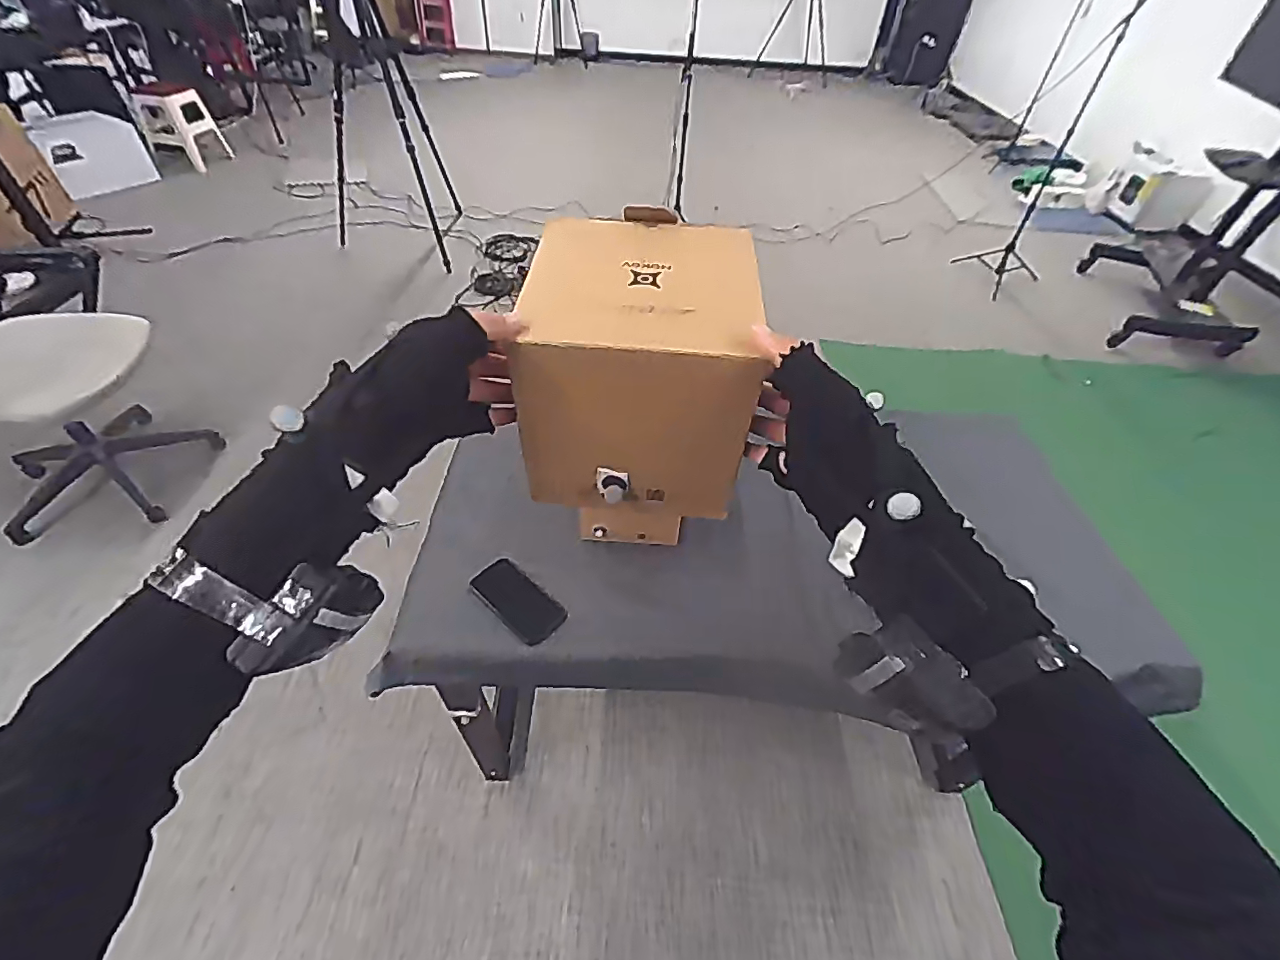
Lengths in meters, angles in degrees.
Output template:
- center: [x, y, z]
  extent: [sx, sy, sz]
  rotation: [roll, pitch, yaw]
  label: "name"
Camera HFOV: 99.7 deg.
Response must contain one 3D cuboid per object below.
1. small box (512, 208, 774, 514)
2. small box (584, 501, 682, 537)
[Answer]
- center: [0.003, -0.095, 0.444]
  extent: [0.168, 0.176, 0.179]
  rotation: [4, 51, 1]
  label: "small box"
- center: [-0.006, -0.020, 0.927]
  extent: [0.168, 0.176, 0.179]
  rotation: [5, 46, 0]
  label: "small box"
